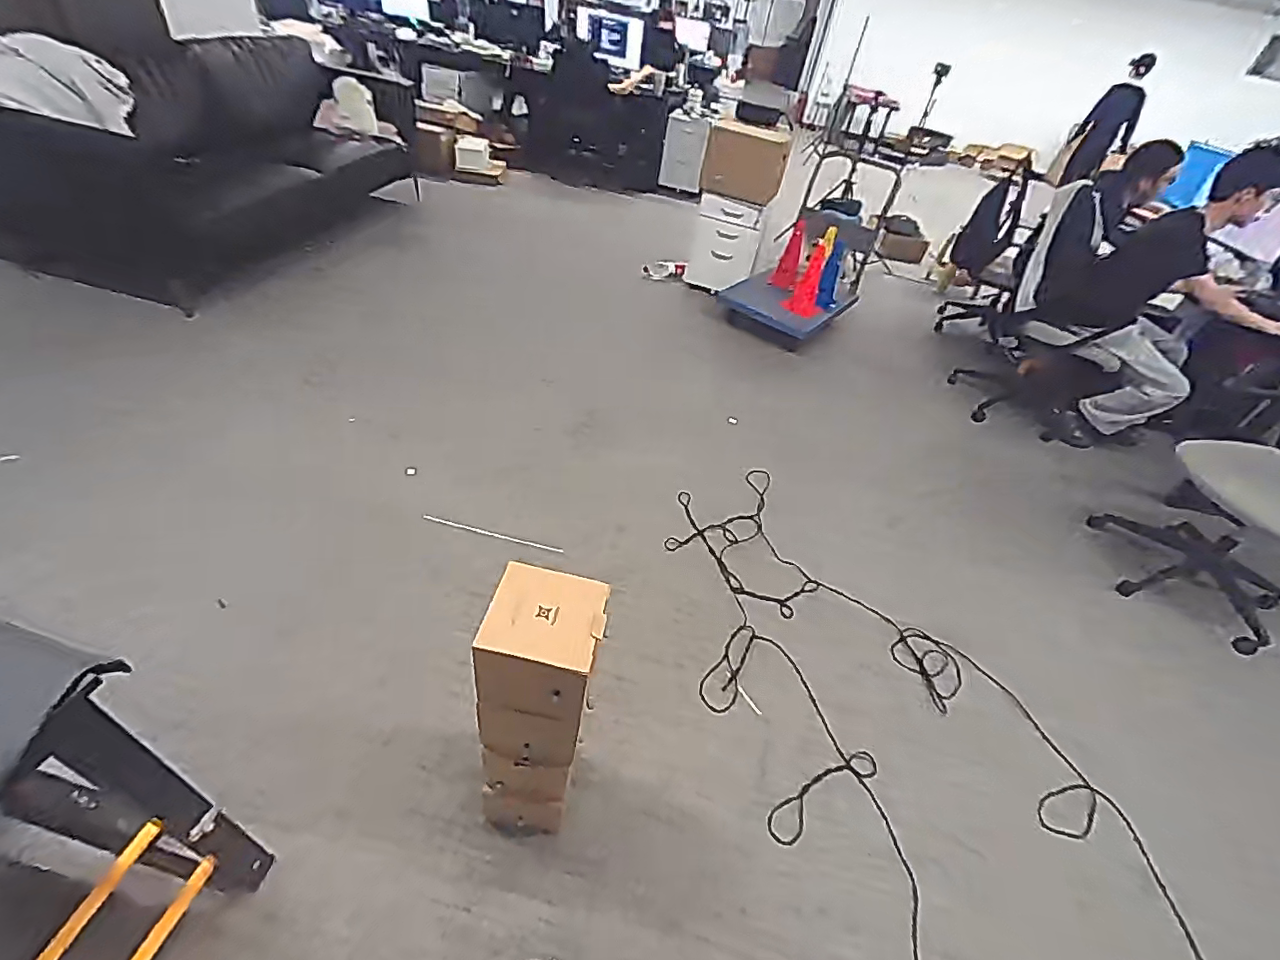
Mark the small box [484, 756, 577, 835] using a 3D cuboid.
[{"bbox_3d":[-0.232,0.644,1.187,0.168,0.176,0.179,11,42,1],"label":"small box"}]

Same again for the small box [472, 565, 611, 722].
[{"bbox_3d":[-0.155,0.269,0.879,0.179,0.176,0.168,12,40,2],"label":"small box"}]

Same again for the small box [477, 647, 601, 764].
[{"bbox_3d":[-0.181,0.391,0.984,0.179,0.176,0.168,13,41,1],"label":"small box"}]

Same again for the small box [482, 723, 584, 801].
[{"bbox_3d":[-0.205,0.515,1.088,0.168,0.176,0.179,12,40,0],"label":"small box"}]
